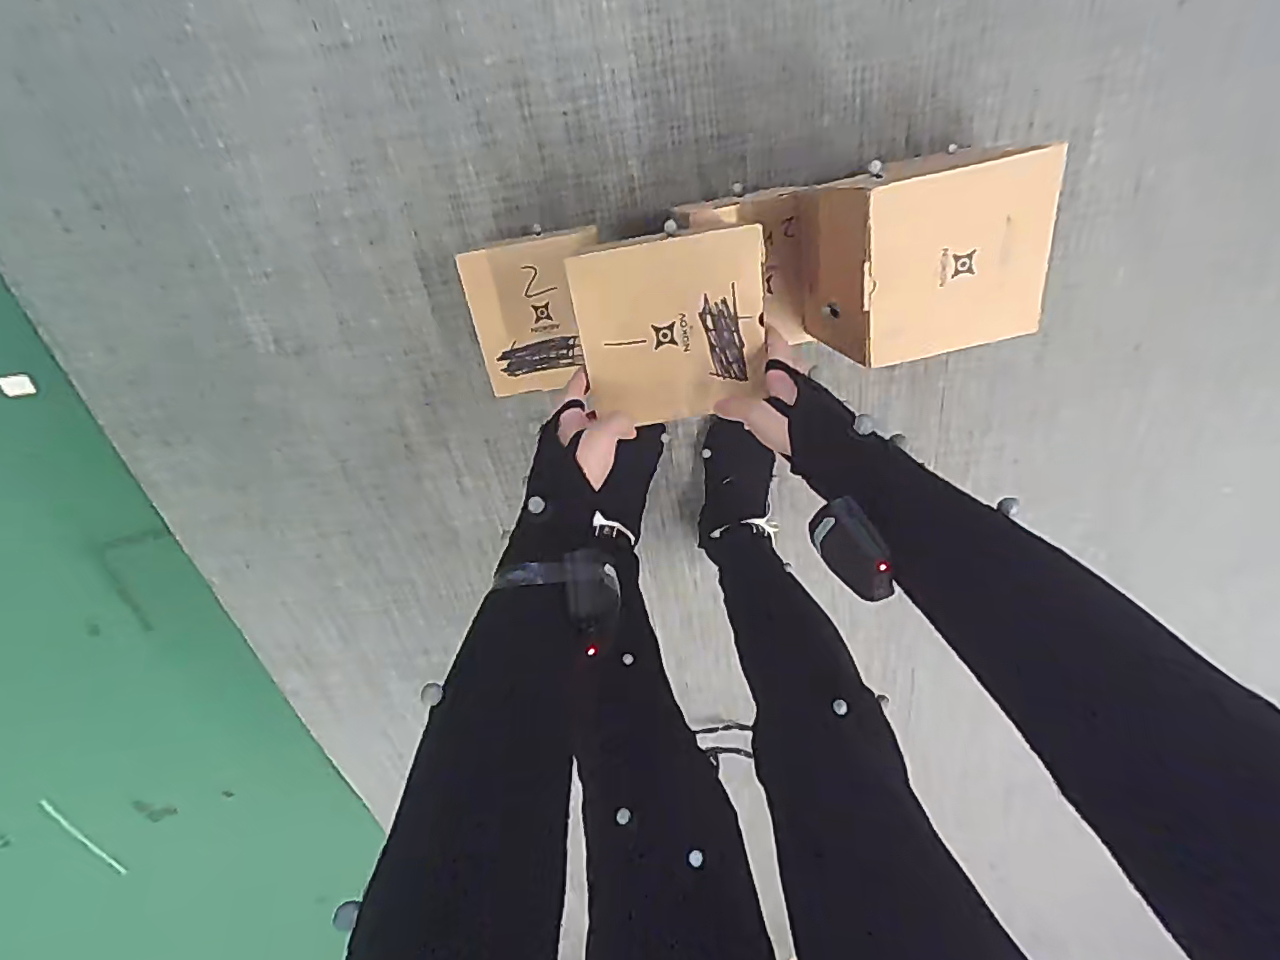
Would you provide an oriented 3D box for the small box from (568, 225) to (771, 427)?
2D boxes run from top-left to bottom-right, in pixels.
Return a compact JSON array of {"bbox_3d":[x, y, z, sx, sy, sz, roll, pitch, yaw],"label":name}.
[{"bbox_3d":[0.030,-0.170,0.572,0.179,0.176,0.168,-8,114,3],"label":"small box"}]

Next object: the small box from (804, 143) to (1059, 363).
[{"bbox_3d":[0.283,-0.240,0.573,0.179,0.176,0.168,-13,119,-1],"label":"small box"}]
